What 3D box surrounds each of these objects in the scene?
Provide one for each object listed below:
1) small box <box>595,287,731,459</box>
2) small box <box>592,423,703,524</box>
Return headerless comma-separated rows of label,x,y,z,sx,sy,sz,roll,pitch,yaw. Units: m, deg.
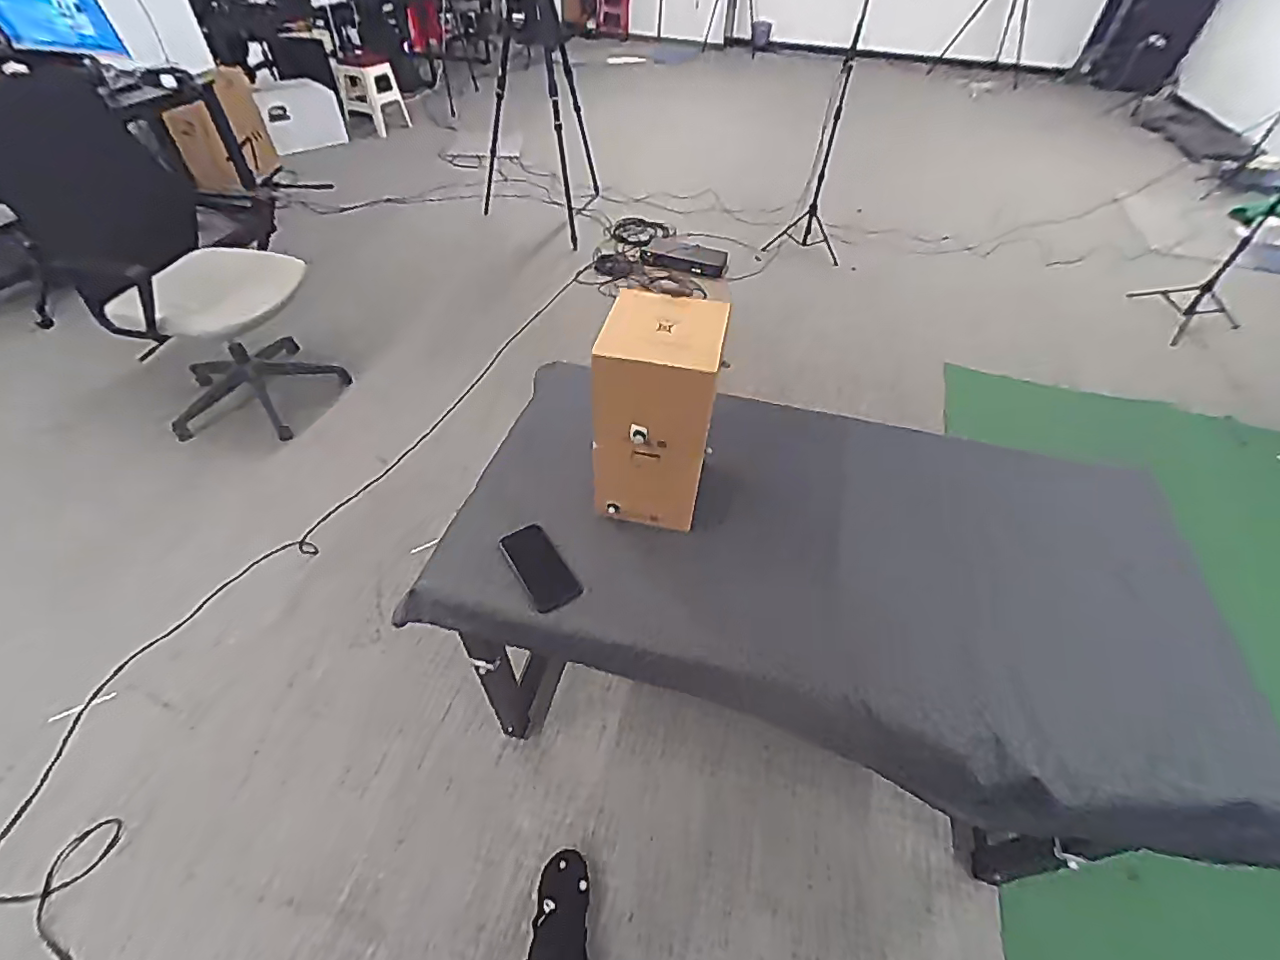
small box,0.033,-0.157,0.800,0.168,0.176,0.179,10,49,6
small box,0.023,-0.049,0.920,0.168,0.176,0.179,11,47,6
